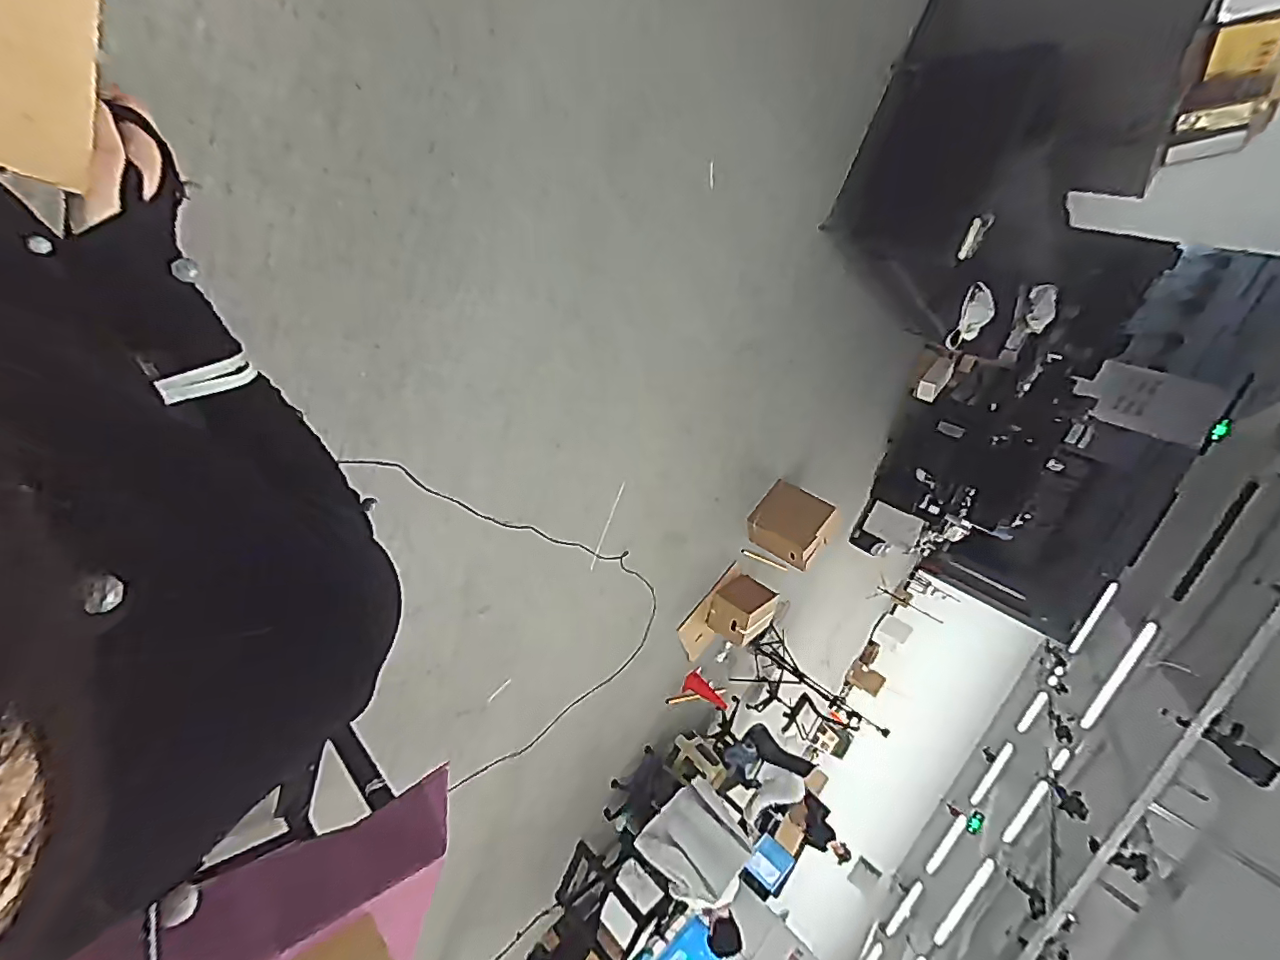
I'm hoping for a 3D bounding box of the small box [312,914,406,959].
[{"bbox_3d":[-0.644,1.141,1.206,0.179,0.176,0.168,4,113,-52],"label":"small box"}]
